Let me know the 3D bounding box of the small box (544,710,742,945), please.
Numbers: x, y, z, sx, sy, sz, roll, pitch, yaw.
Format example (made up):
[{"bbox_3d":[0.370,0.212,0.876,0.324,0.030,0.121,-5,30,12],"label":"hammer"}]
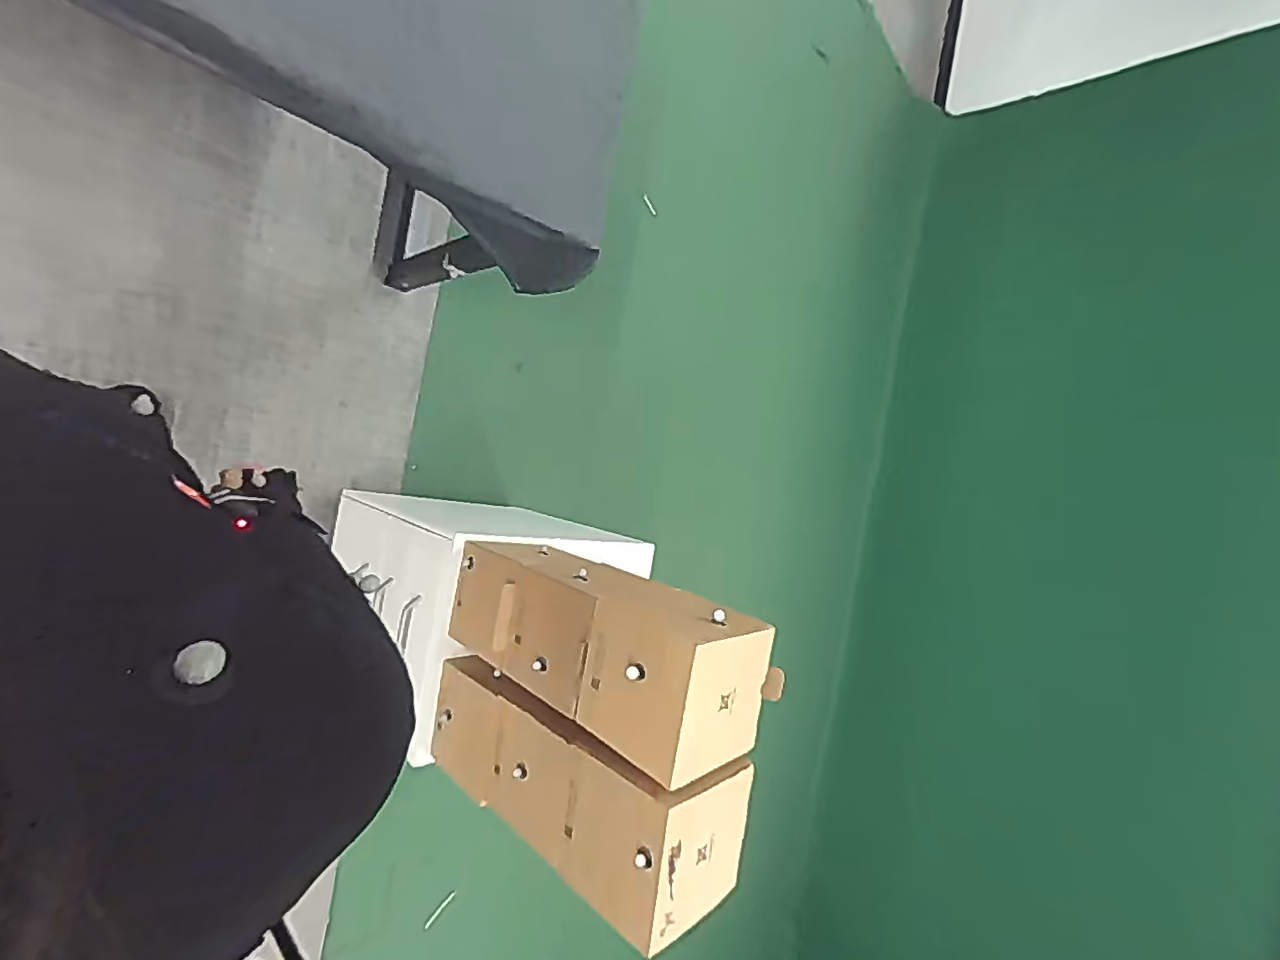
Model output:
[{"bbox_3d":[0.005,0.421,0.699,0.179,0.176,0.168,8,91,-49],"label":"small box"}]

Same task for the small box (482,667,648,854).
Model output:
[{"bbox_3d":[-0.115,0.401,0.808,0.179,0.176,0.168,5,94,-48],"label":"small box"}]
